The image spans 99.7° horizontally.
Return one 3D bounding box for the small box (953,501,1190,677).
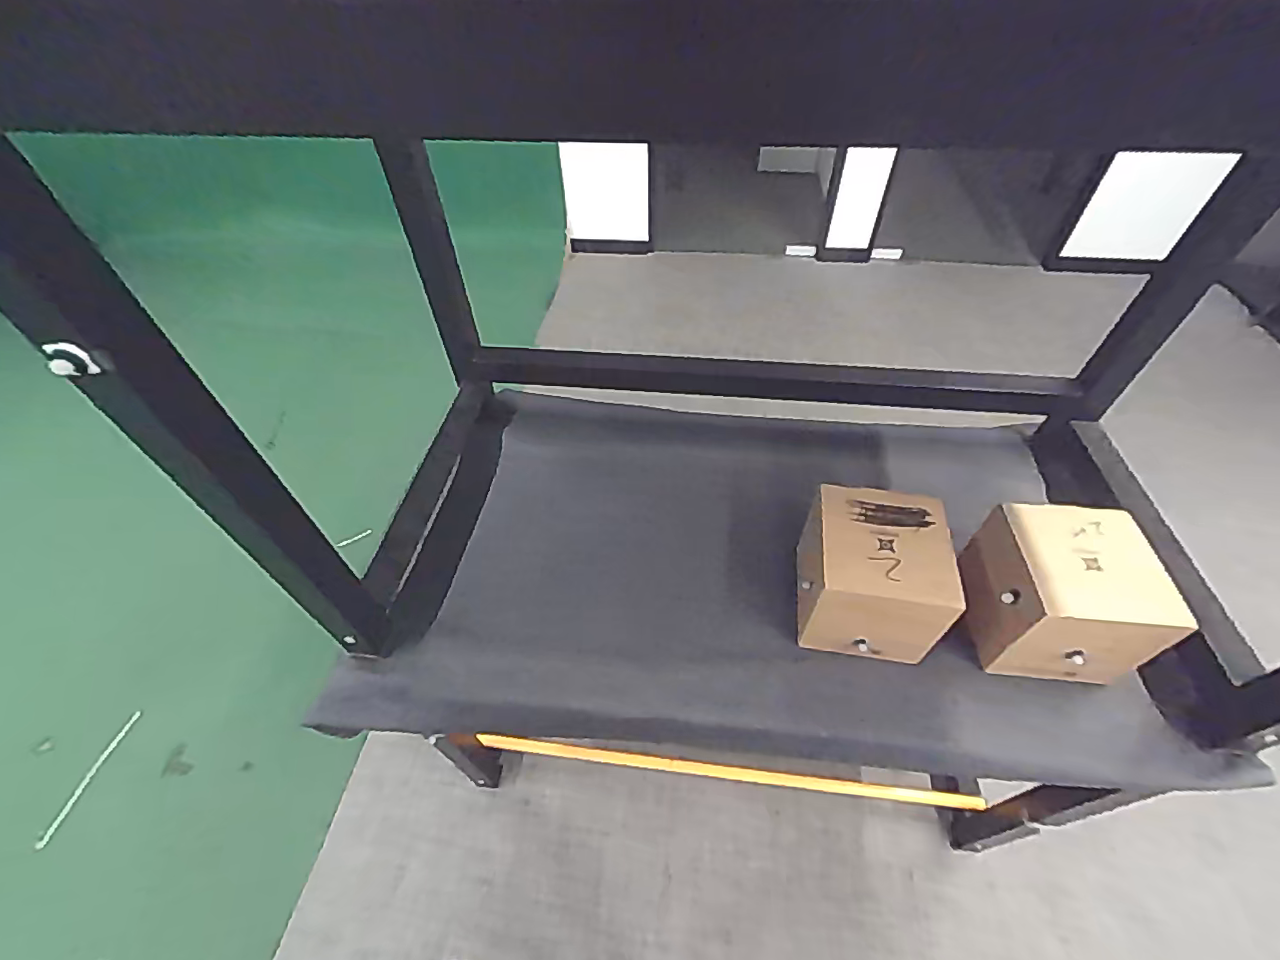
[{"bbox_3d":[0.565,0.152,0.742,0.168,0.176,0.179,4,48,5],"label":"small box"}]
